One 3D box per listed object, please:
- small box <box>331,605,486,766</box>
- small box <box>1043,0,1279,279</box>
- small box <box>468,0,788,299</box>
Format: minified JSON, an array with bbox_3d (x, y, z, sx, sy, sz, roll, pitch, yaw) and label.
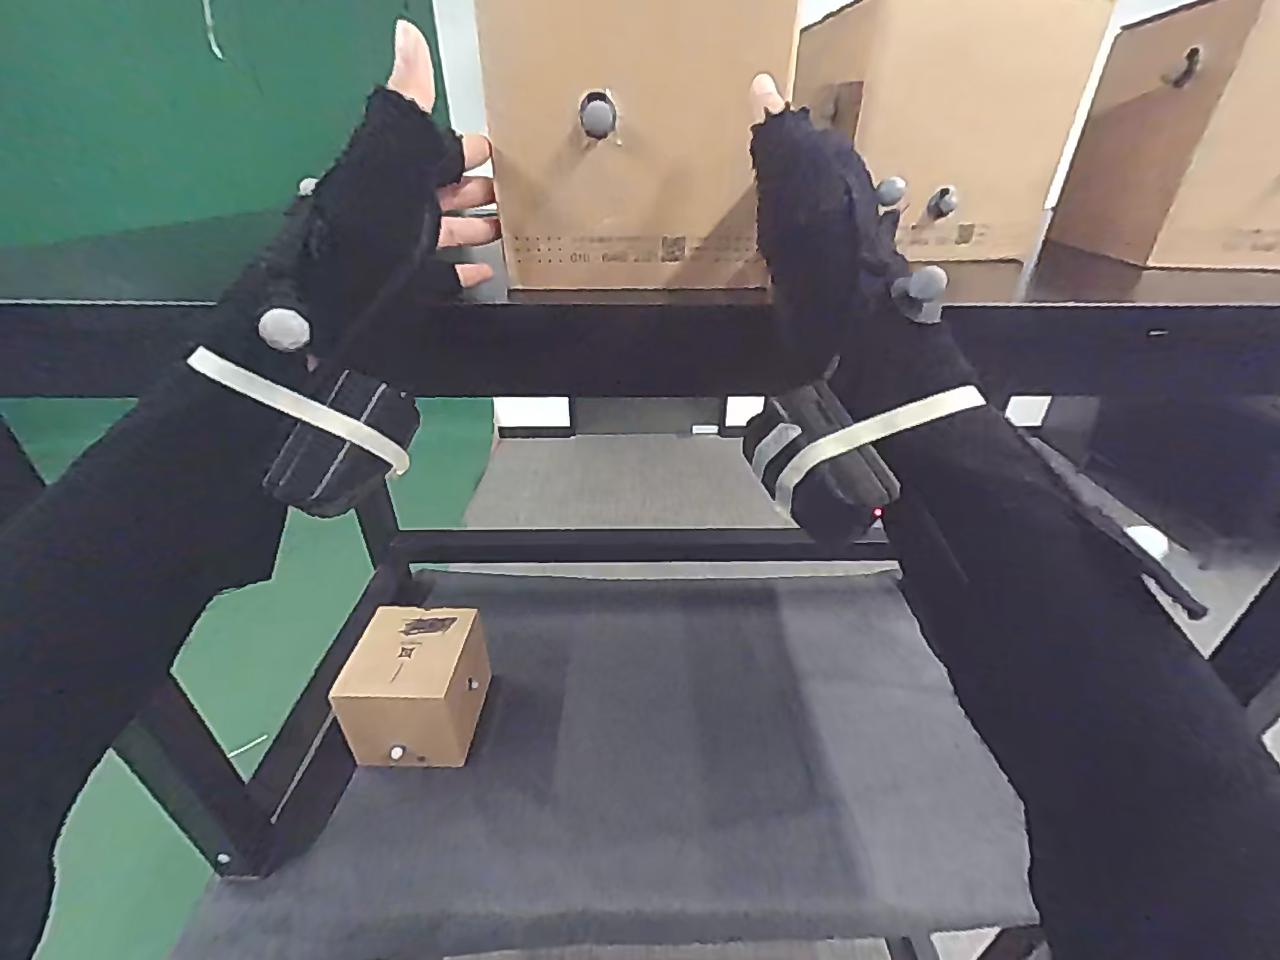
[{"bbox_3d":[-0.352,0.324,0.865,0.168,0.176,0.179,1,32,0],"label":"small box"},{"bbox_3d":[0.470,-0.262,0.429,0.168,0.176,0.179,6,31,9],"label":"small box"},{"bbox_3d":[-0.005,-0.226,0.373,0.168,0.176,0.179,-1,31,-2],"label":"small box"}]
